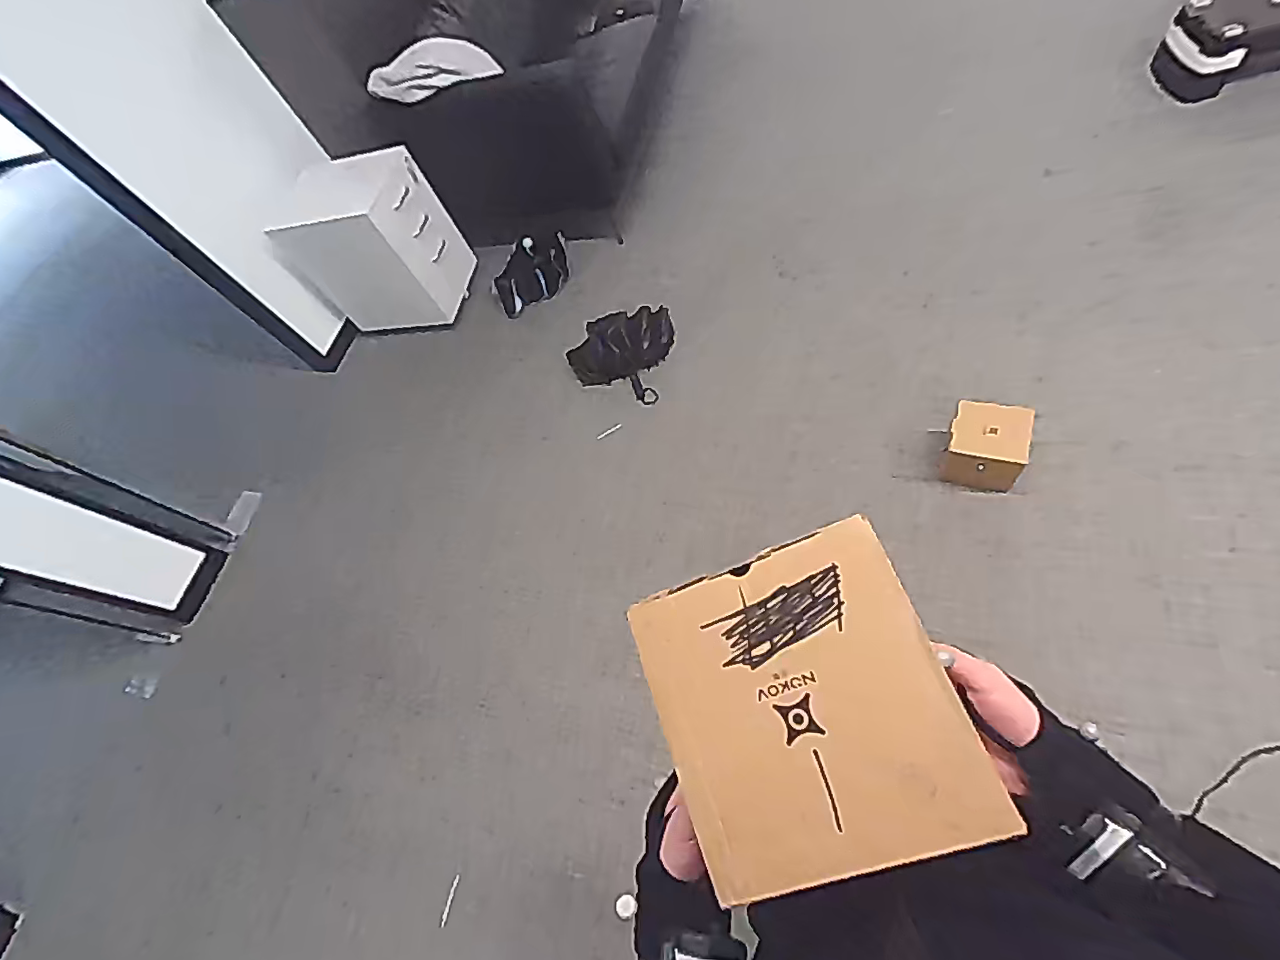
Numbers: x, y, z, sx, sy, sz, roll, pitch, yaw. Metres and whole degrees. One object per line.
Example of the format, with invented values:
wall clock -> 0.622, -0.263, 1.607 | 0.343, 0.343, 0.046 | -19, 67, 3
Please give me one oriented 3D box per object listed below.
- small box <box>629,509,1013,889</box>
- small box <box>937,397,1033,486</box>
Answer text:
small box -> 0.116, 0.143, 0.387 | 0.168, 0.176, 0.179 | -24, 69, 14
small box -> 0.923, -0.100, 1.462 | 0.179, 0.176, 0.168 | 14, 69, 23
